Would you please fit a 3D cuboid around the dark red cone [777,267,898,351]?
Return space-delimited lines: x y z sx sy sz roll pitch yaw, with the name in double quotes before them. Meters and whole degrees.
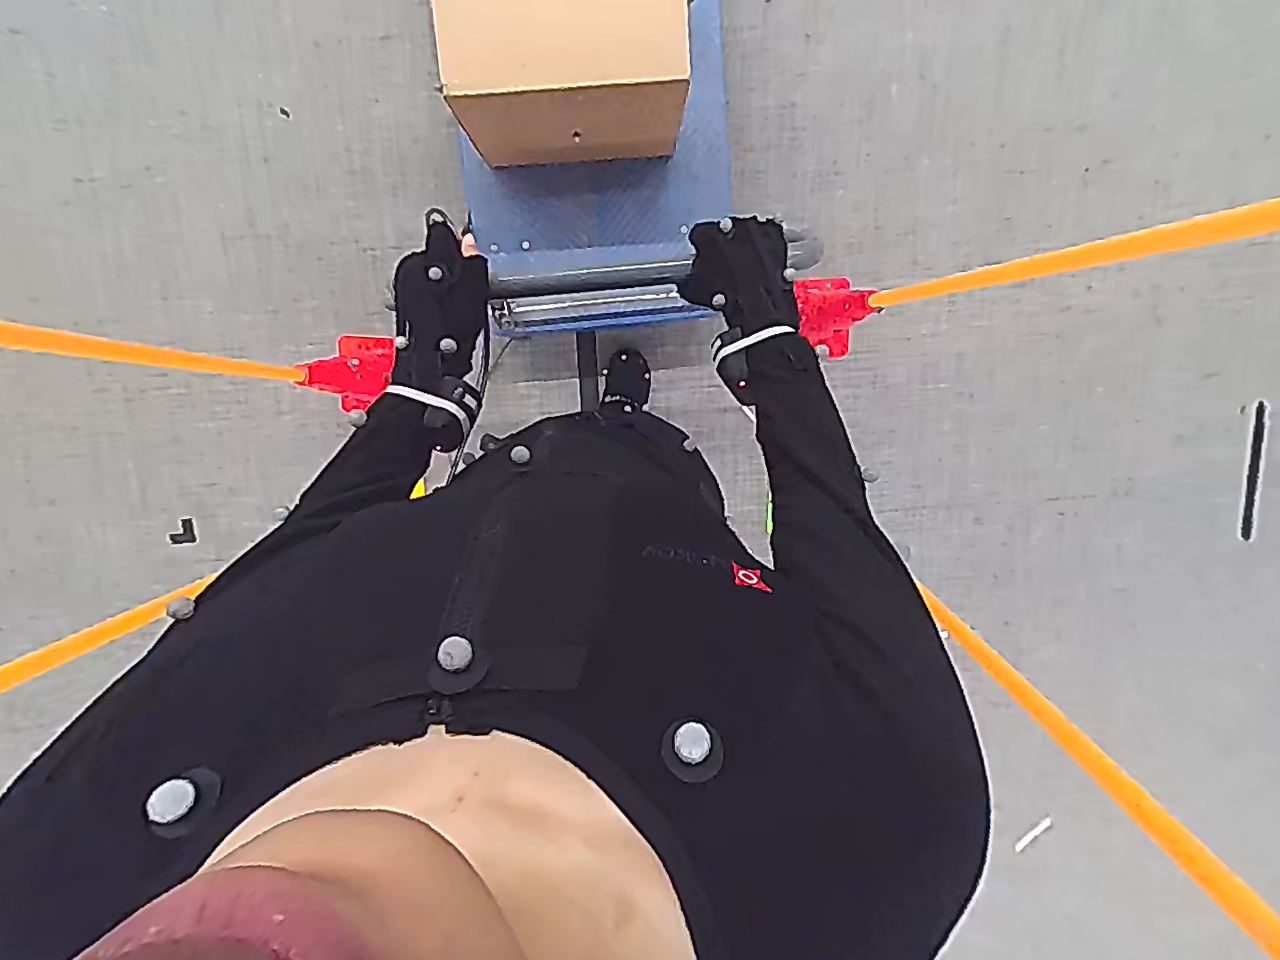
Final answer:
"dark red cone" 0.457 -0.401 1.211 0.201 0.394 0.202 -4 101 -3

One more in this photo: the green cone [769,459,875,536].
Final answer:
"green cone" 0.463 0.072 1.315 0.202 0.368 0.200 0 100 -3

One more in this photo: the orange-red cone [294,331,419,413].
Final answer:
"orange-red cone" -0.667 -0.251 1.230 0.198 0.360 0.199 4 99 -3

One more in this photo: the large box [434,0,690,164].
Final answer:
"large box" -0.130 -0.813 0.993 0.408 0.320 0.320 -5 101 0
